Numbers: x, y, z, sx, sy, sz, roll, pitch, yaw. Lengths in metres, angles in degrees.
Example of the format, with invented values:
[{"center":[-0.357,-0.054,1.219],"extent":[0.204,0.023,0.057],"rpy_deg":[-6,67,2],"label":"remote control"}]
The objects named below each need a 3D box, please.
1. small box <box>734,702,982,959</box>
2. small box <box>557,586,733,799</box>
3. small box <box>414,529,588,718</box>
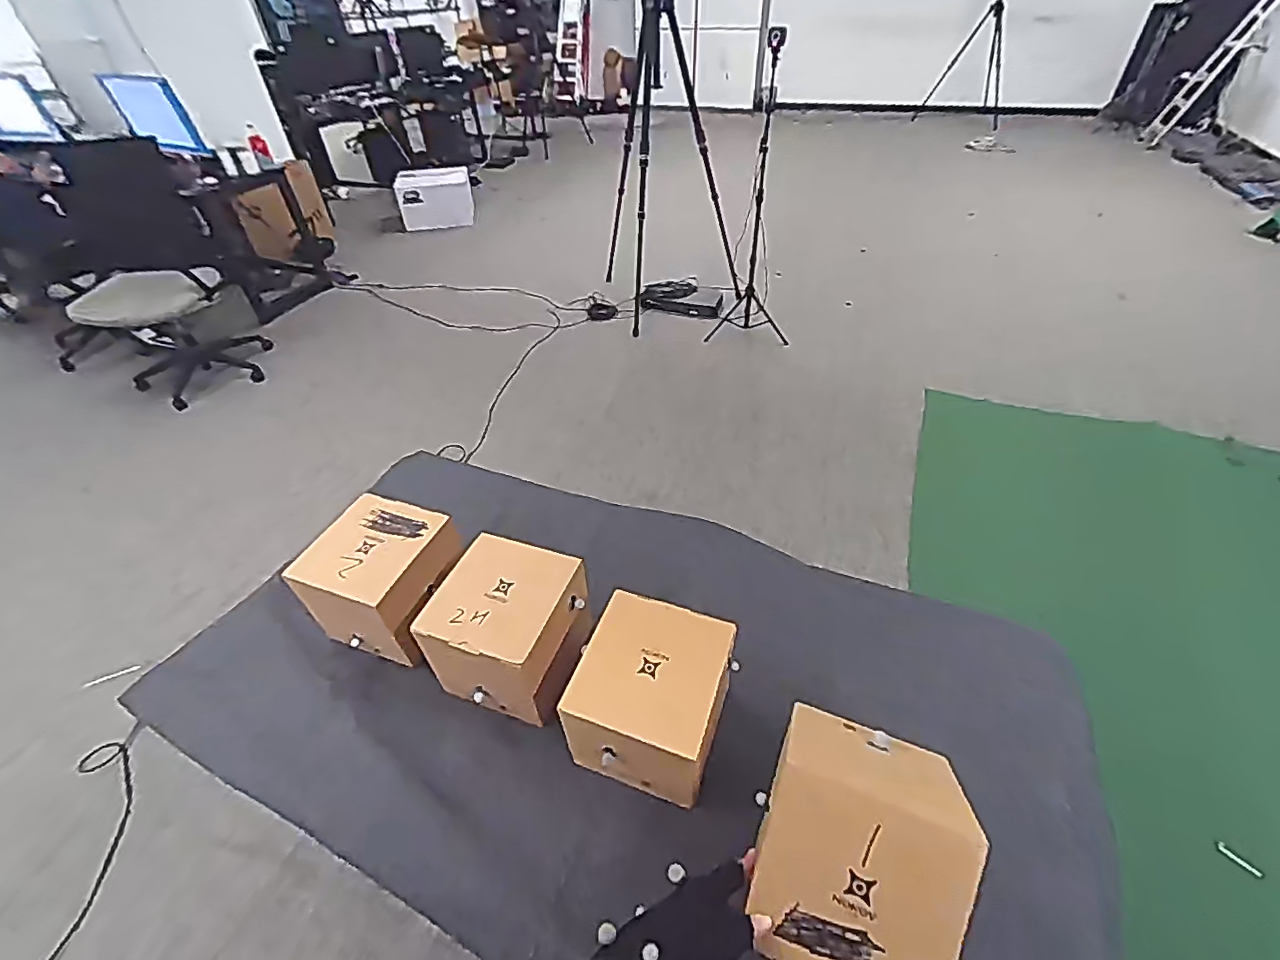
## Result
[{"center":[0.207,0.357,0.540],"extent":[0.168,0.176,0.179],"rpy_deg":[16,91,19],"label":"small box"},{"center":[0.014,0.273,0.695],"extent":[0.168,0.176,0.179],"rpy_deg":[13,45,16],"label":"small box"},{"center":[-0.183,0.203,0.776],"extent":[0.168,0.176,0.179],"rpy_deg":[13,45,16],"label":"small box"}]
